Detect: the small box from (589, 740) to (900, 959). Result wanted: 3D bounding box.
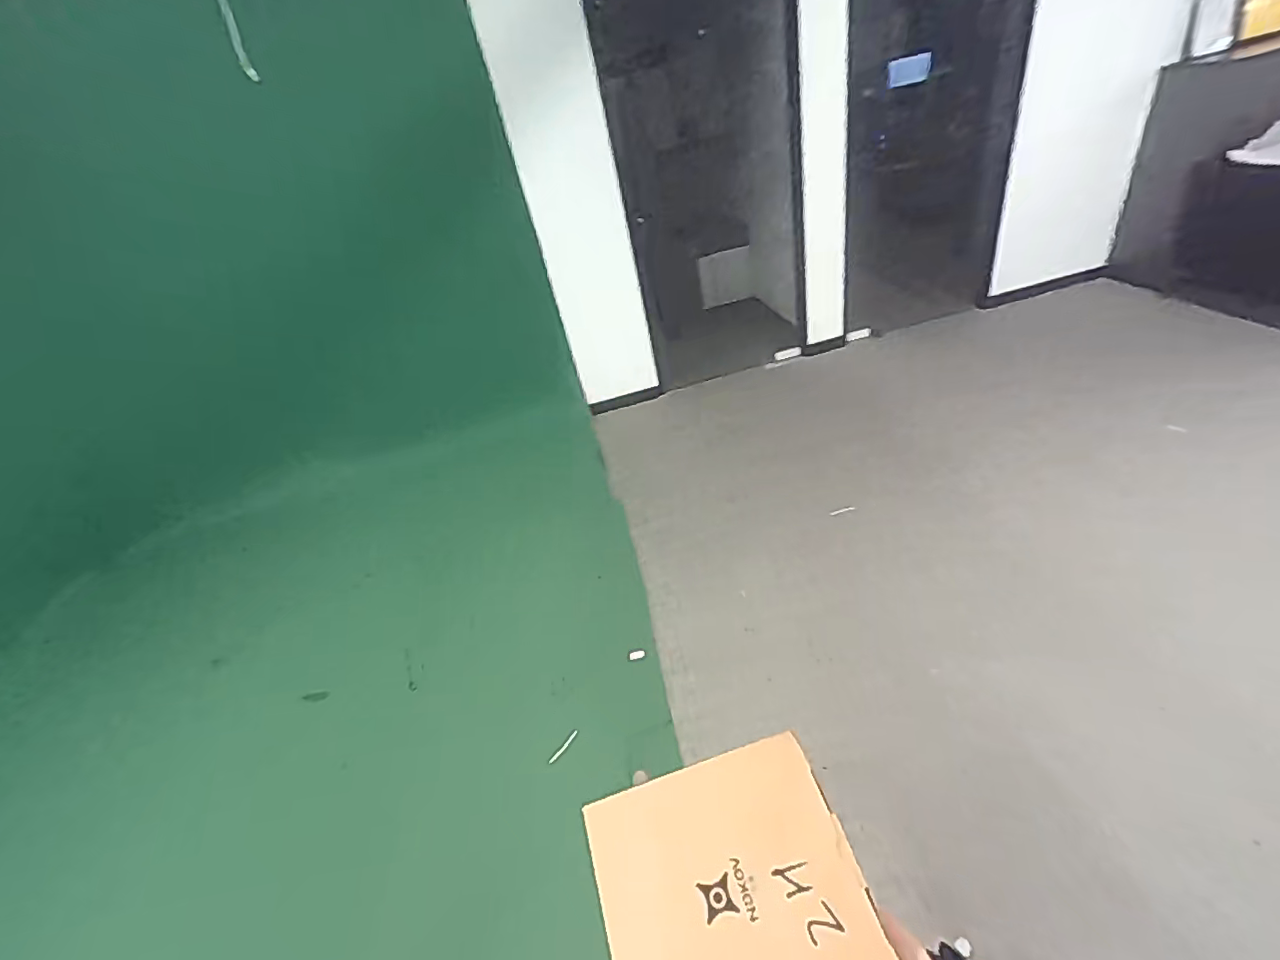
[{"bbox_3d":[0.077,0.331,0.420,0.179,0.176,0.168,-18,52,-3],"label":"small box"}]
